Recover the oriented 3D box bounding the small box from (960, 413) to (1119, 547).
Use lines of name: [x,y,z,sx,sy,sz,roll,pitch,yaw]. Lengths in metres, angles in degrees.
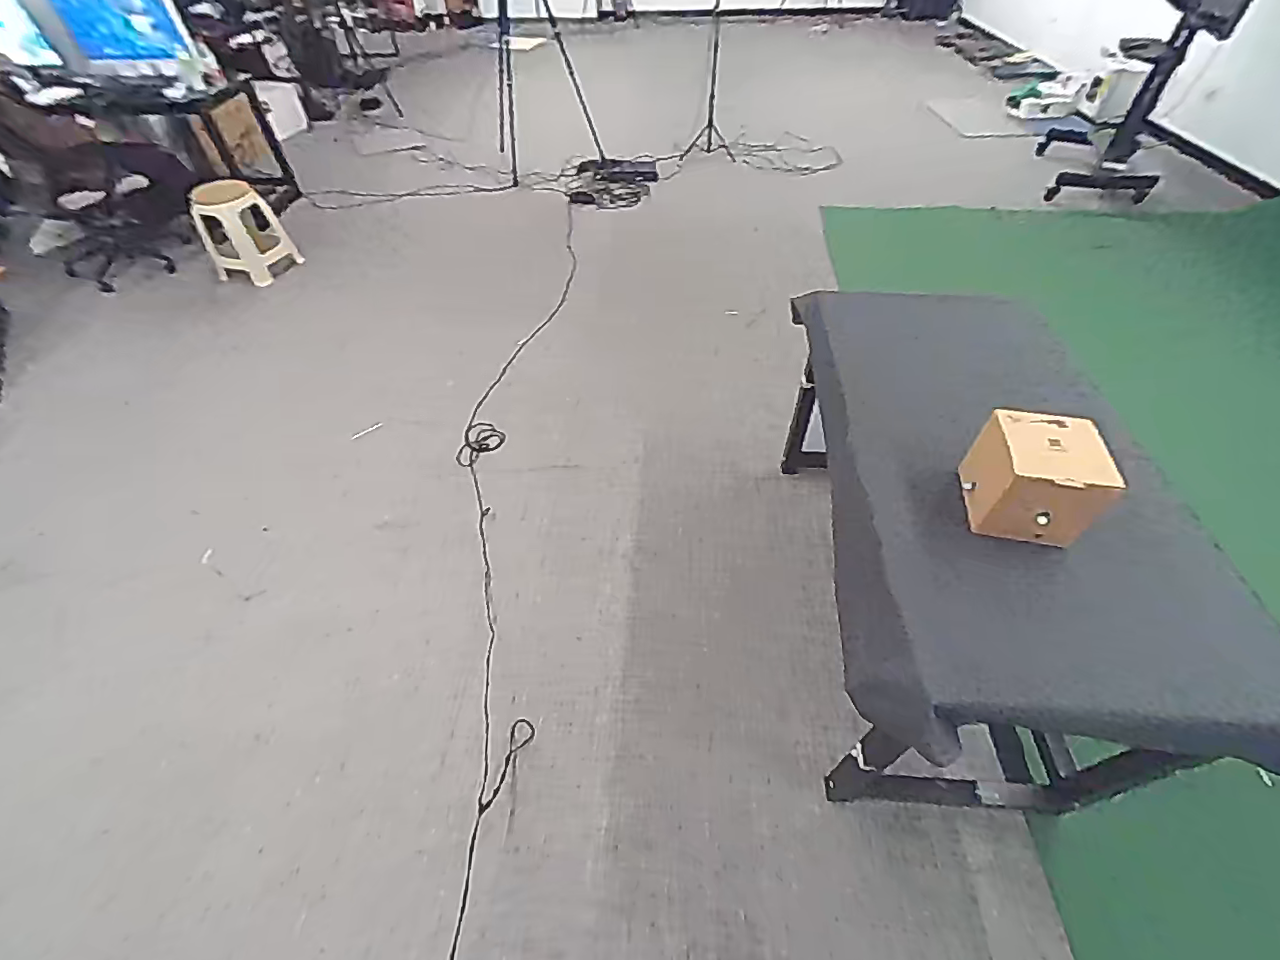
small box: [0.725,0.004,1.006,0.168,0.176,0.179,9,50,9]
